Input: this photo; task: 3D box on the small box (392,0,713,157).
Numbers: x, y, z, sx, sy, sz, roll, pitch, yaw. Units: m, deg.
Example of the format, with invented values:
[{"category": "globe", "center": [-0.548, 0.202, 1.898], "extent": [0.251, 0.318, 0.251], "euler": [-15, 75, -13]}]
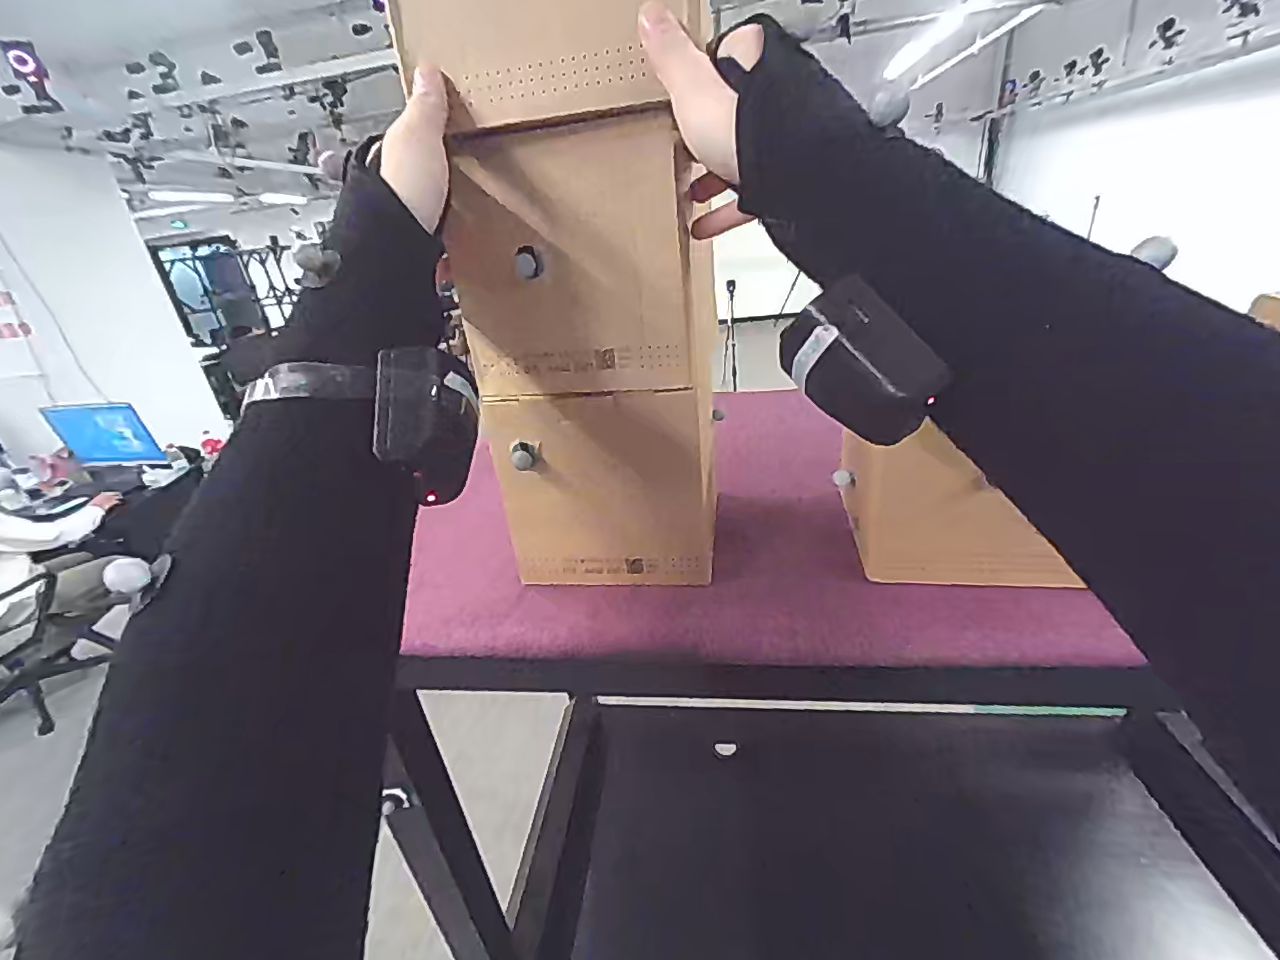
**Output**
[{"category": "small box", "center": [-0.049, -0.312, 0.355], "extent": [0.179, 0.176, 0.168], "euler": [-3, 25, 11]}]

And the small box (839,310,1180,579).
[{"category": "small box", "center": [0.265, -0.032, 0.443], "extent": [0.179, 0.176, 0.168], "euler": [-2, 25, 14]}]

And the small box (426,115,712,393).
[{"category": "small box", "center": [-0.034, -0.171, 0.441], "extent": [0.168, 0.176, 0.179], "euler": [-1, 25, 15]}]
